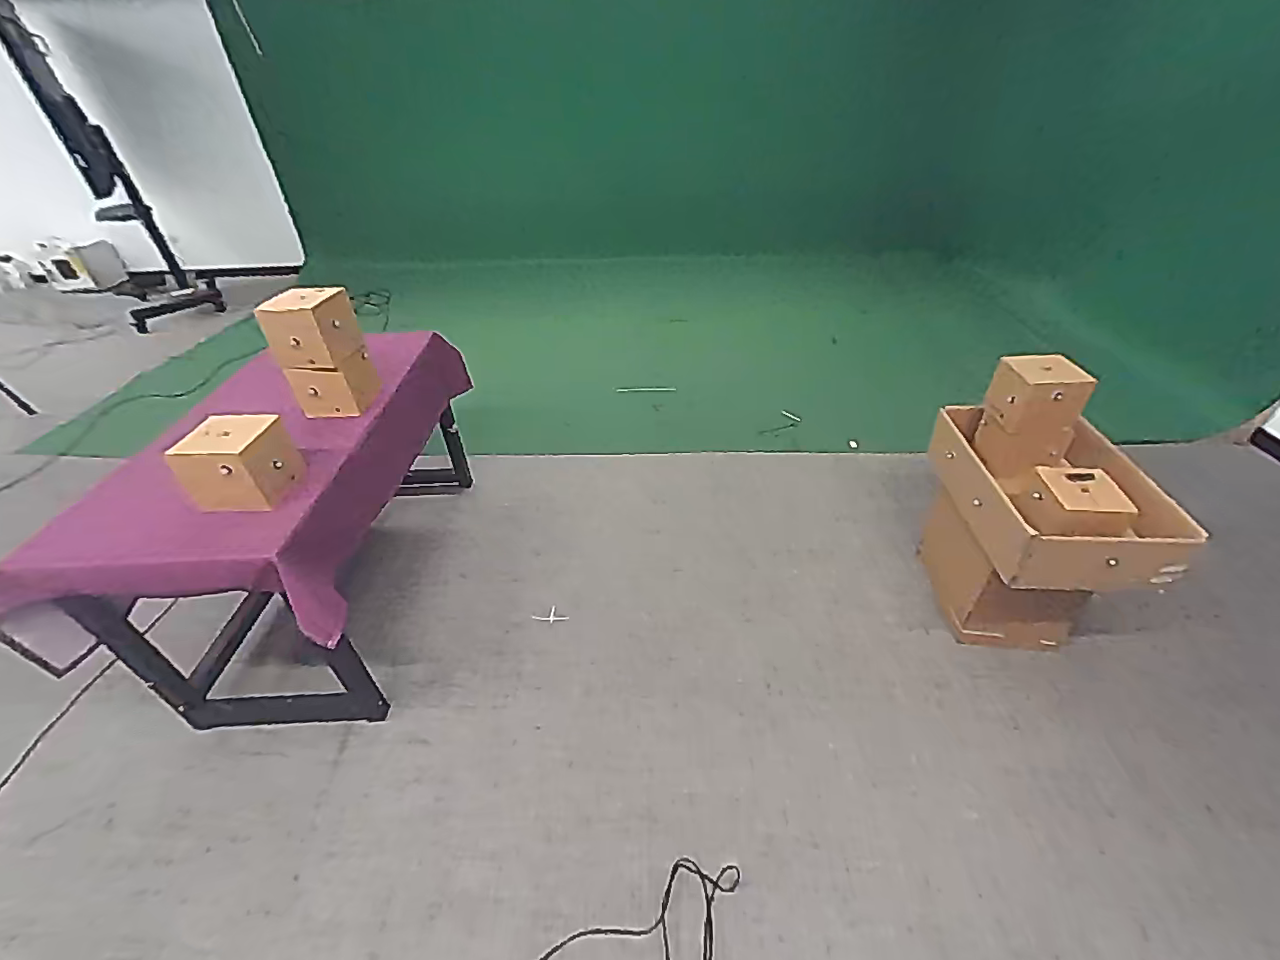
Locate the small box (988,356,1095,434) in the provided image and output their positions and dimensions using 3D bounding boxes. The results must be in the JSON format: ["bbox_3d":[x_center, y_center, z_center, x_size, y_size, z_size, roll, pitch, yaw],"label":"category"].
[{"bbox_3d":[1.143,-0.244,1.563,0.179,0.176,0.168,-2,38,1],"label":"small box"}]

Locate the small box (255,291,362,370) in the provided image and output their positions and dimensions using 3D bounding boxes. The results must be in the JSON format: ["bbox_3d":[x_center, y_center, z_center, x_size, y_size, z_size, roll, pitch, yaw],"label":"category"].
[{"bbox_3d":[-0.917,-0.418,1.519,0.168,0.176,0.179,1,38,6],"label":"small box"}]

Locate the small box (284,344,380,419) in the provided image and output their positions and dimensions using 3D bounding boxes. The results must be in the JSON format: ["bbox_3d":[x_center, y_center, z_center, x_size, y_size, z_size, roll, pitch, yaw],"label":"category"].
[{"bbox_3d":[-0.913,-0.292,1.625,0.168,0.176,0.179,-2,37,2],"label":"small box"}]

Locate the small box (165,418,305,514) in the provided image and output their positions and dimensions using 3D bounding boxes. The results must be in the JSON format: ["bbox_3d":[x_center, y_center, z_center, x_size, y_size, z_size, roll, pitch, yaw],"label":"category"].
[{"bbox_3d":[-0.947,-0.032,1.287,0.179,0.176,0.168,-1,37,3],"label":"small box"}]
